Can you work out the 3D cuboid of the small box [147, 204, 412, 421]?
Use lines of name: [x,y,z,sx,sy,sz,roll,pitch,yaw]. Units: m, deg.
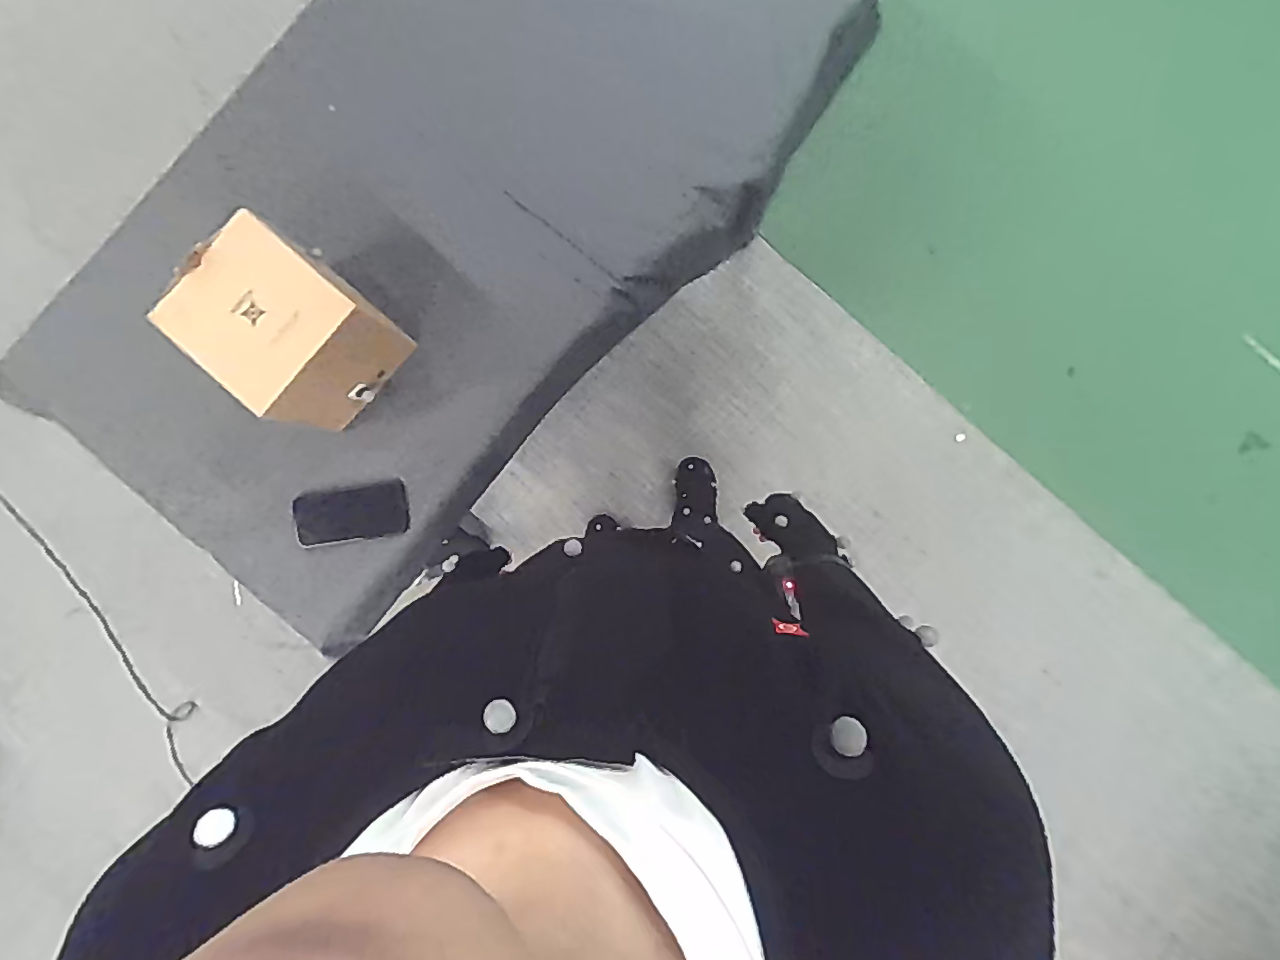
small box: [-0.430,-0.191,0.677,0.179,0.176,0.168,41,90,1]
